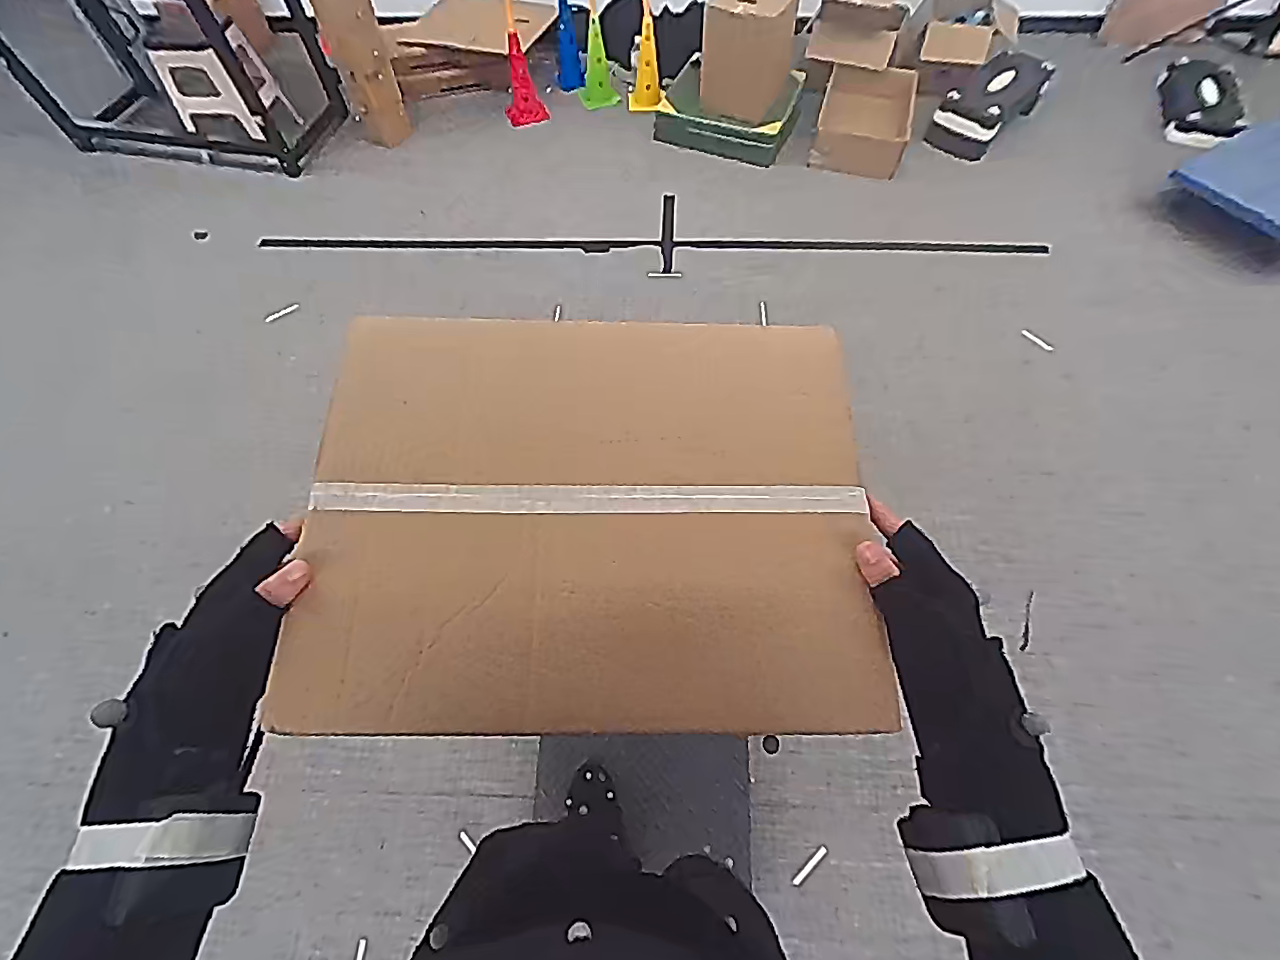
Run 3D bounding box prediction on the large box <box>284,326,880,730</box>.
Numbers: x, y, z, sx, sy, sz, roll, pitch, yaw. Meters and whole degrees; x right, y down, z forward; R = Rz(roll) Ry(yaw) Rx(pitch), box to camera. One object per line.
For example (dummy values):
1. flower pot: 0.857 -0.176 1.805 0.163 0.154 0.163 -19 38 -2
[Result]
1. large box: -0.039 0.067 0.547 0.408 0.320 0.320 1 69 -2
